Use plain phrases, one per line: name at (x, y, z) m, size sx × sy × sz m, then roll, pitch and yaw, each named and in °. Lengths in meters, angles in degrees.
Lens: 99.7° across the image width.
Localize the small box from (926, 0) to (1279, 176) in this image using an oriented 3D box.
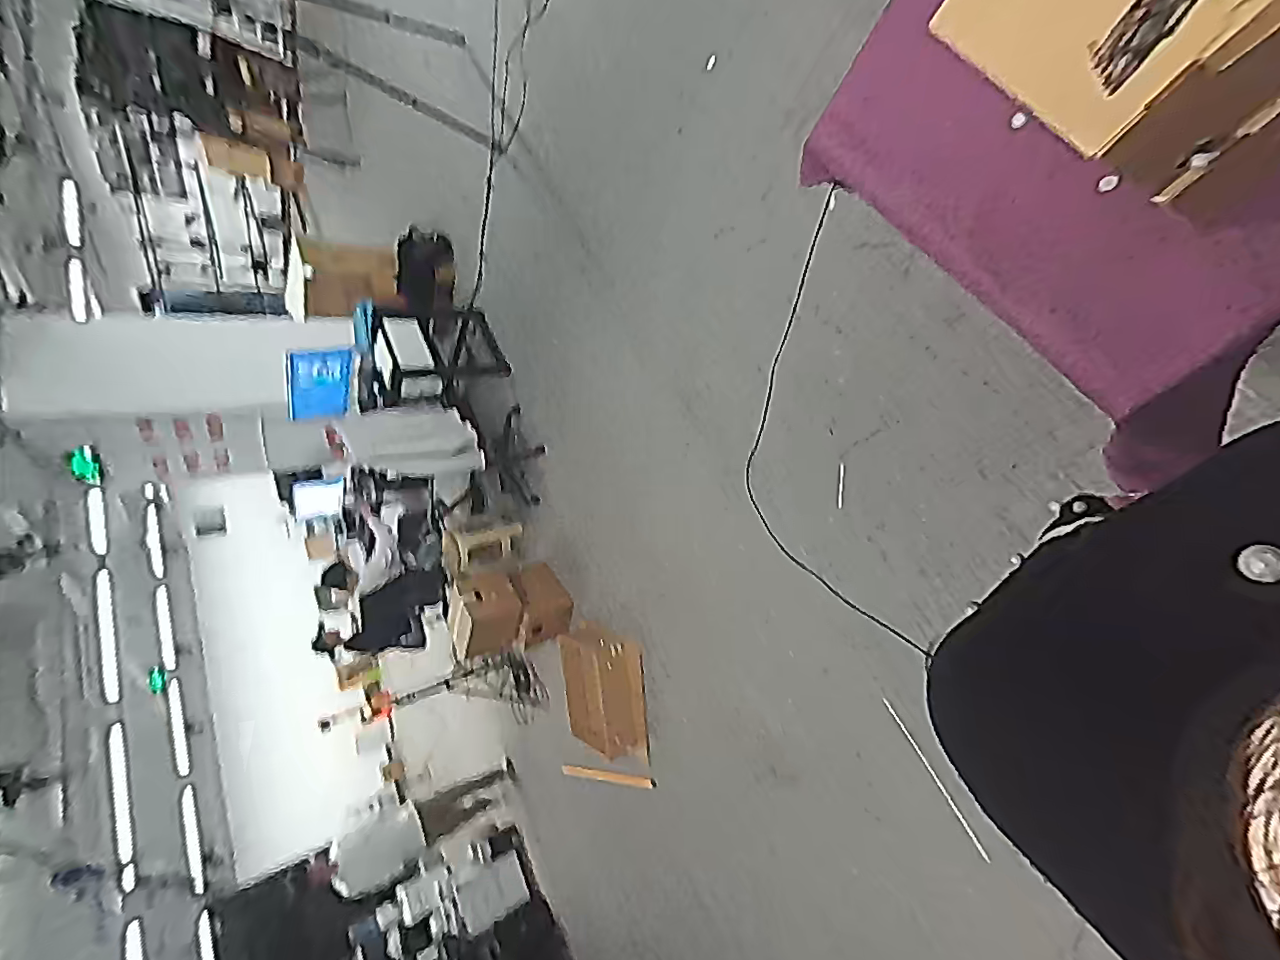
small box at (0.357, -0.344, 0.380) m, size 0.168 × 0.176 × 0.179 m, roll -51°, pitch 58°, yaw 46°

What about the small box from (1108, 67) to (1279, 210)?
small box at (0.489, -0.364, 0.477) m, size 0.179 × 0.176 × 0.168 m, roll 61°, pitch 139°, yaw 21°
